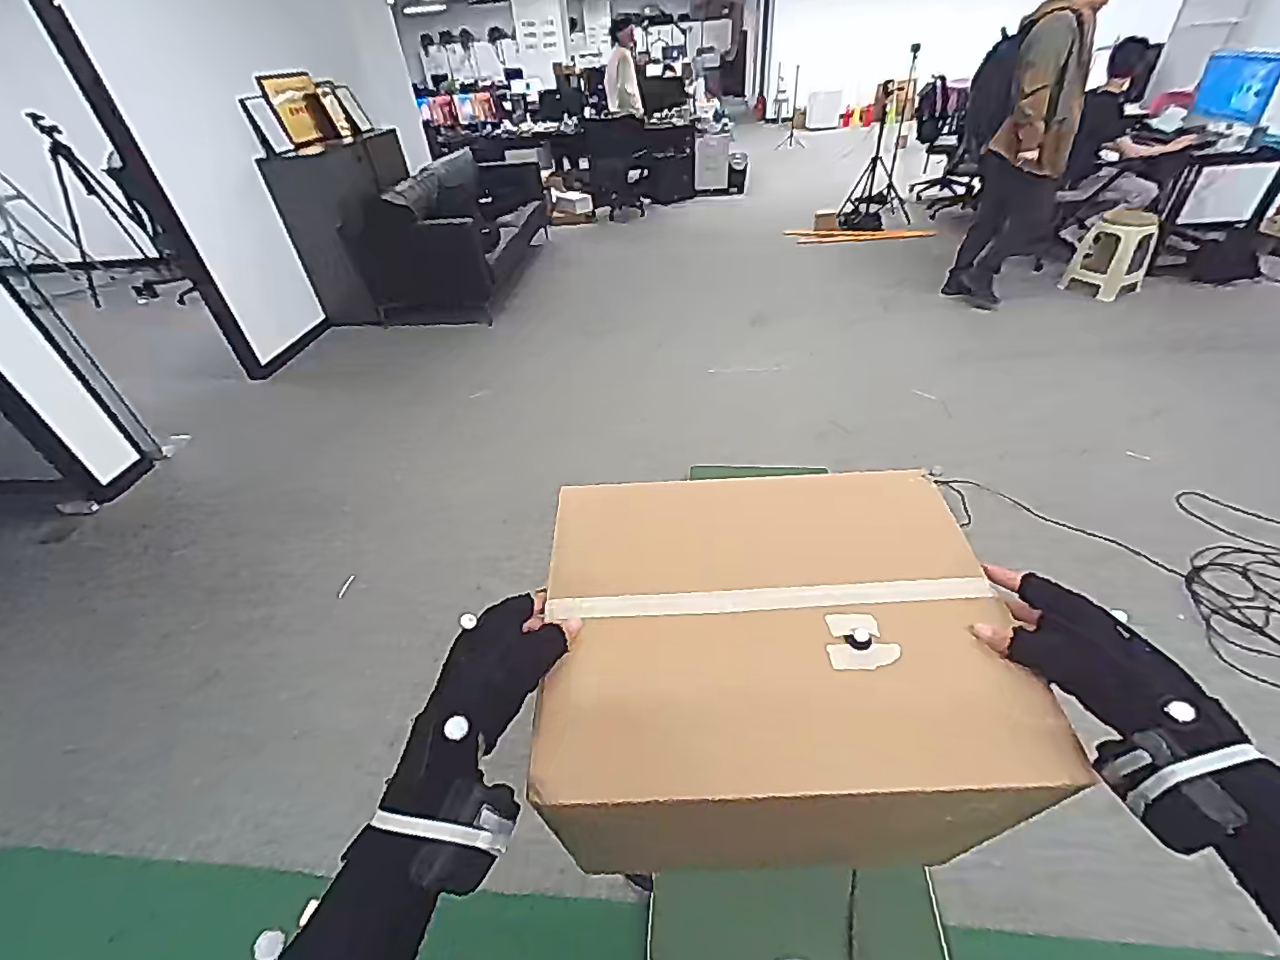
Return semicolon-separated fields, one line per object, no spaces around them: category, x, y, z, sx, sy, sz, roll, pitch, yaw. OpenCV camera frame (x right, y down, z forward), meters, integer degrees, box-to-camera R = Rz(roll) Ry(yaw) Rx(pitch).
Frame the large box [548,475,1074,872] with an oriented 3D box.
large box;0.126;0.218;0.609;0.408;0.320;0.320;-3;47;0
